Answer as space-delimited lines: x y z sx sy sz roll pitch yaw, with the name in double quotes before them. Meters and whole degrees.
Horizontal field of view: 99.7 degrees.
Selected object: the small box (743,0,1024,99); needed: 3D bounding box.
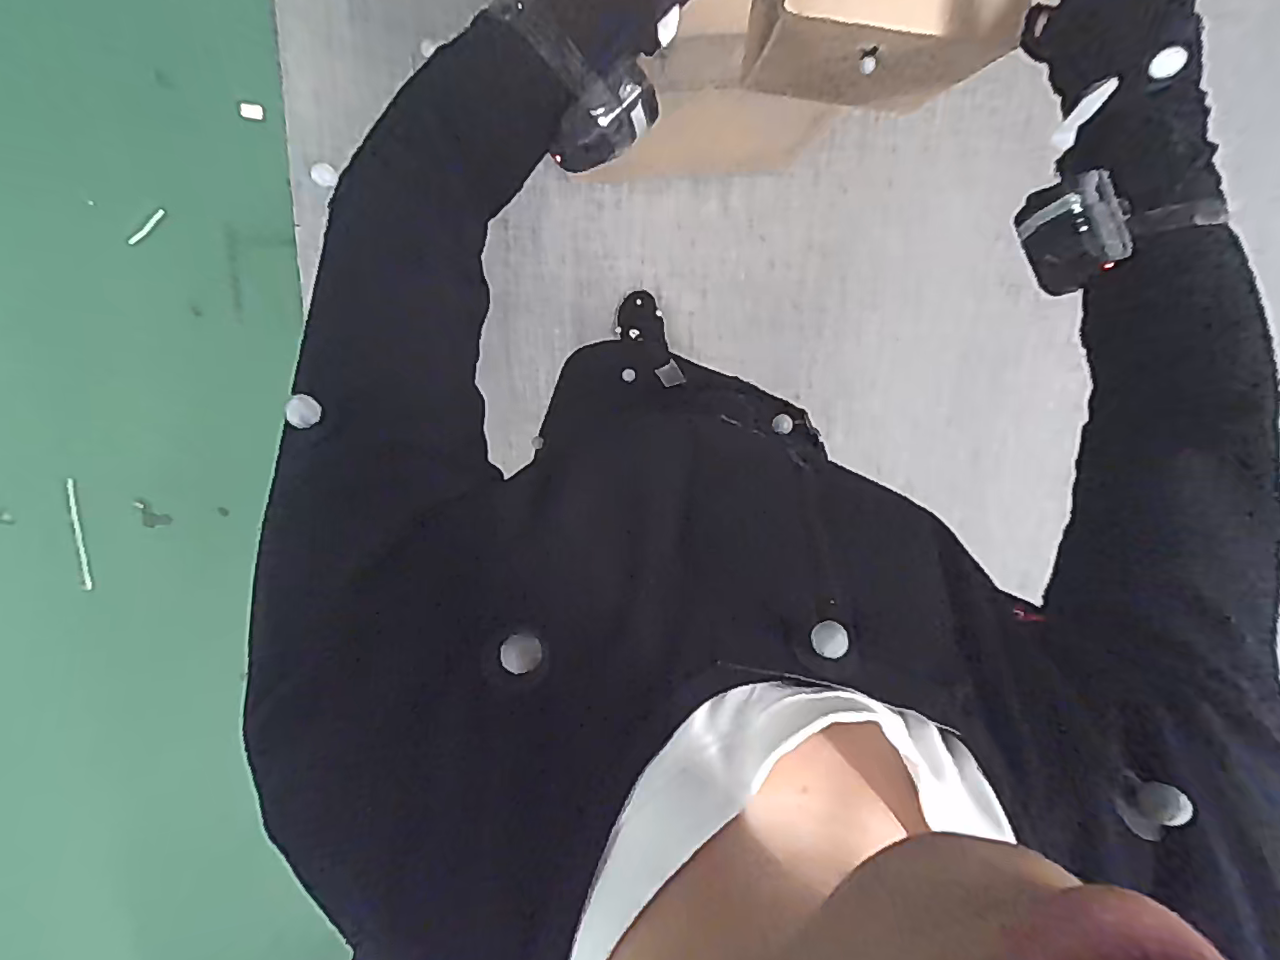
"small box" 0.191 -0.431 0.430 0.179 0.176 0.168 6 111 -4
